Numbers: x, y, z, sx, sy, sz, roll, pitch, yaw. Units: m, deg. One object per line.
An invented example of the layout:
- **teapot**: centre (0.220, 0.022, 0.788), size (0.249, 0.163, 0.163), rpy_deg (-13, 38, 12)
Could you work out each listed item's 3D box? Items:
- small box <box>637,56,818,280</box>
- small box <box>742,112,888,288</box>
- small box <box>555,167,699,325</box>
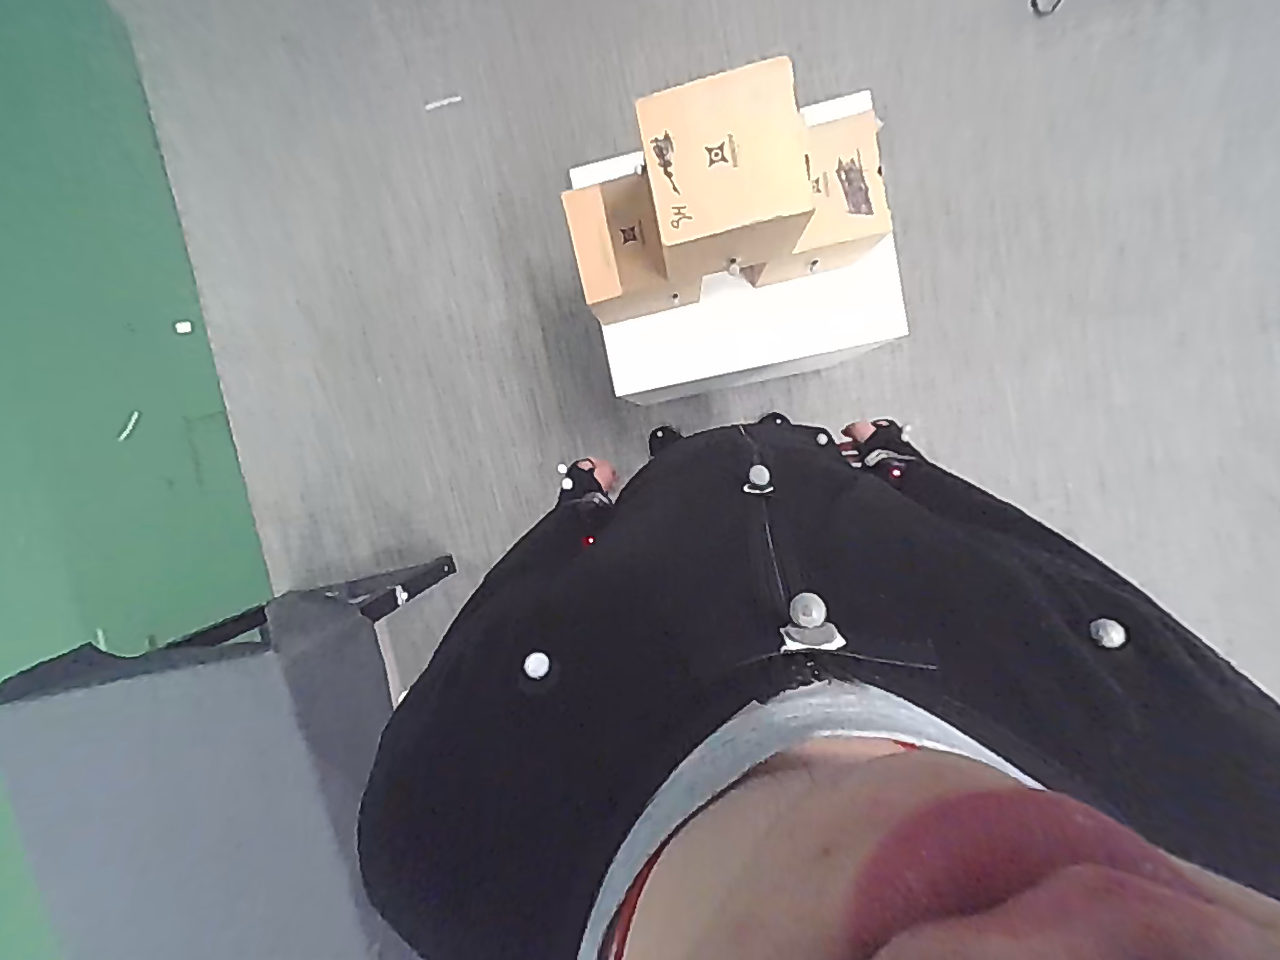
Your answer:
- **small box**: centre (0.098, -0.364, 0.665), size (0.179, 0.176, 0.168), rpy_deg (-11, 94, 5)
- **small box**: centre (0.245, -0.407, 0.816), size (0.179, 0.176, 0.168), rpy_deg (-11, 95, 6)
- **small box**: centre (-0.015, -0.353, 0.838), size (0.179, 0.176, 0.168), rpy_deg (-13, 93, 5)
